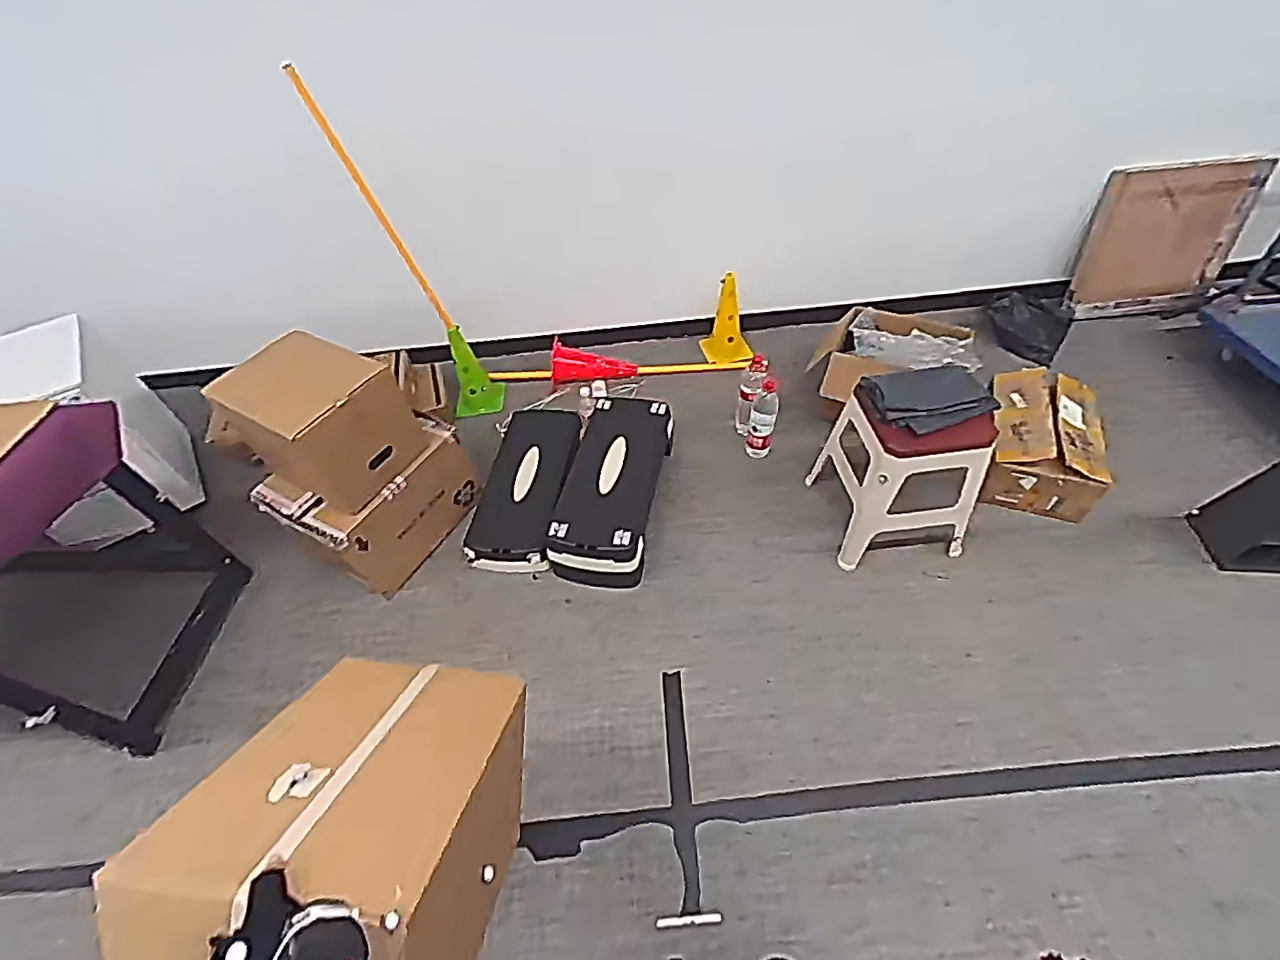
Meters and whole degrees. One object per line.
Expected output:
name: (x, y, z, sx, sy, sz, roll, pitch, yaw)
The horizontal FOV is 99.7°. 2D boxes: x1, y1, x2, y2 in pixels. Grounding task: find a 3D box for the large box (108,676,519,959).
large box: (-0.374, 0.530, 0.741, 0.320, 0.320, 0.408, 5, 12, 3)
